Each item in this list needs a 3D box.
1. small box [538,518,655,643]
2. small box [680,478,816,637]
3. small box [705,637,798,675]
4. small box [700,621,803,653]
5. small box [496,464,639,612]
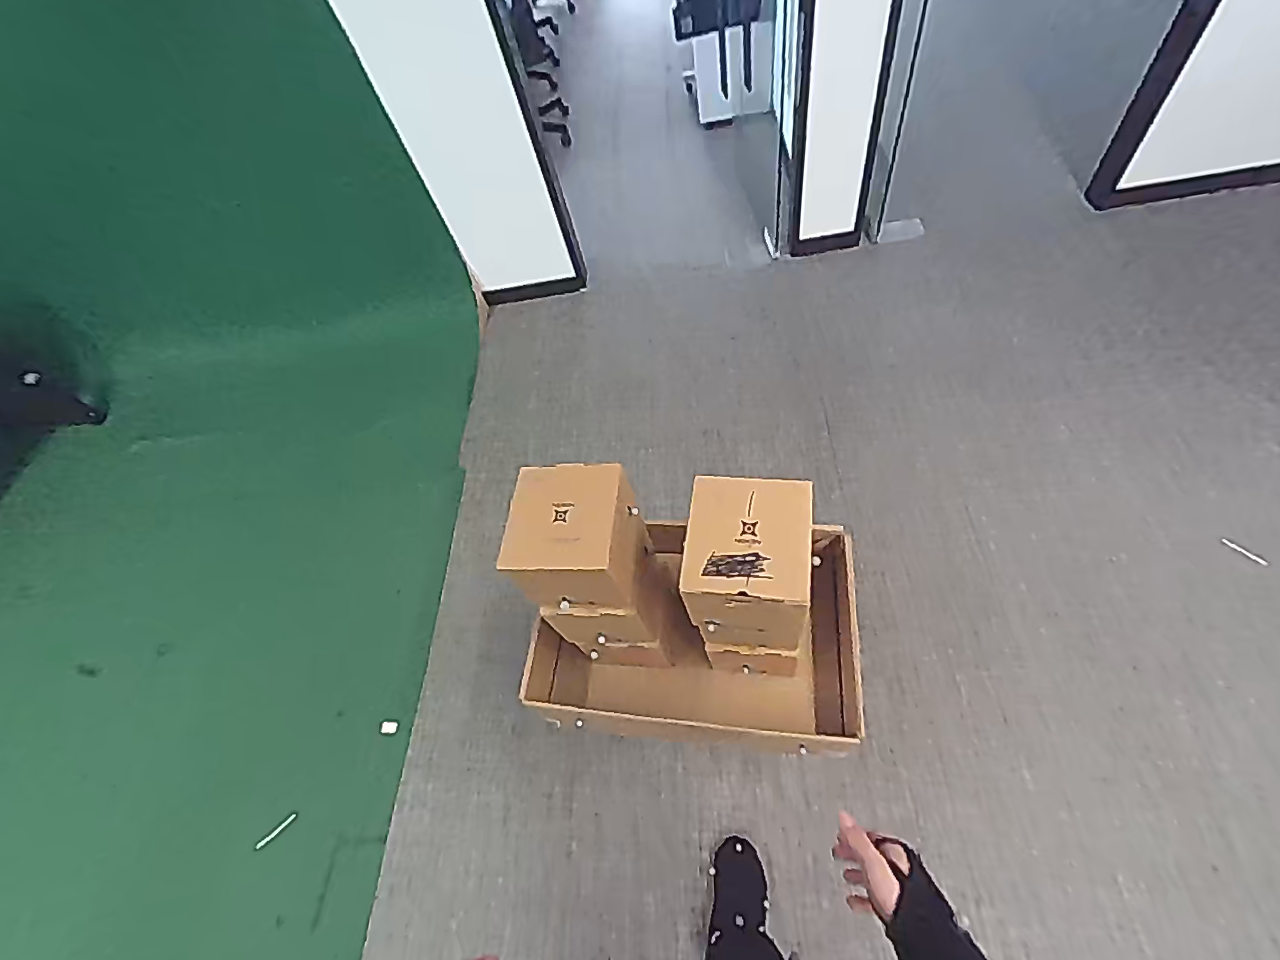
[{"bbox_3d":[-0.068,0.183,0.978,0.168,0.176,0.179,-2,59,11],"label":"small box"},{"bbox_3d":[0.159,0.117,0.782,0.168,0.176,0.179,4,62,14],"label":"small box"},{"bbox_3d":[0.219,0.273,1.066,0.168,0.176,0.179,1,61,12],"label":"small box"},{"bbox_3d":[0.191,0.182,0.931,0.168,0.176,0.179,3,61,13],"label":"small box"},{"bbox_3d":[-0.100,0.092,0.846,0.168,0.176,0.179,-1,59,12],"label":"small box"}]
